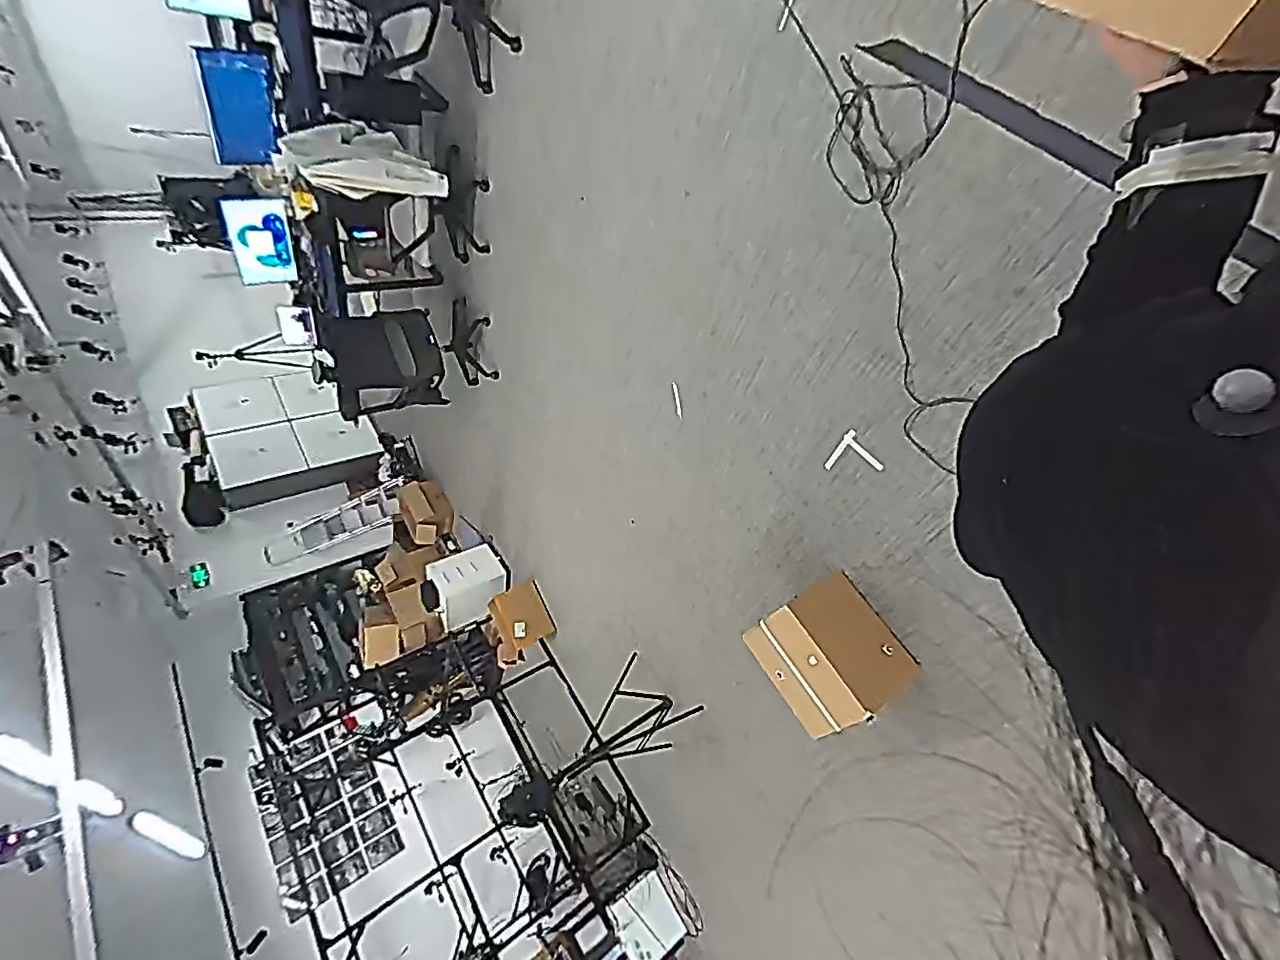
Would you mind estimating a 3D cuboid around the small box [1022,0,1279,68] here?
[{"bbox_3d":[0.288,-0.315,0.244,0.179,0.176,0.168,58,153,30],"label":"small box"}]
